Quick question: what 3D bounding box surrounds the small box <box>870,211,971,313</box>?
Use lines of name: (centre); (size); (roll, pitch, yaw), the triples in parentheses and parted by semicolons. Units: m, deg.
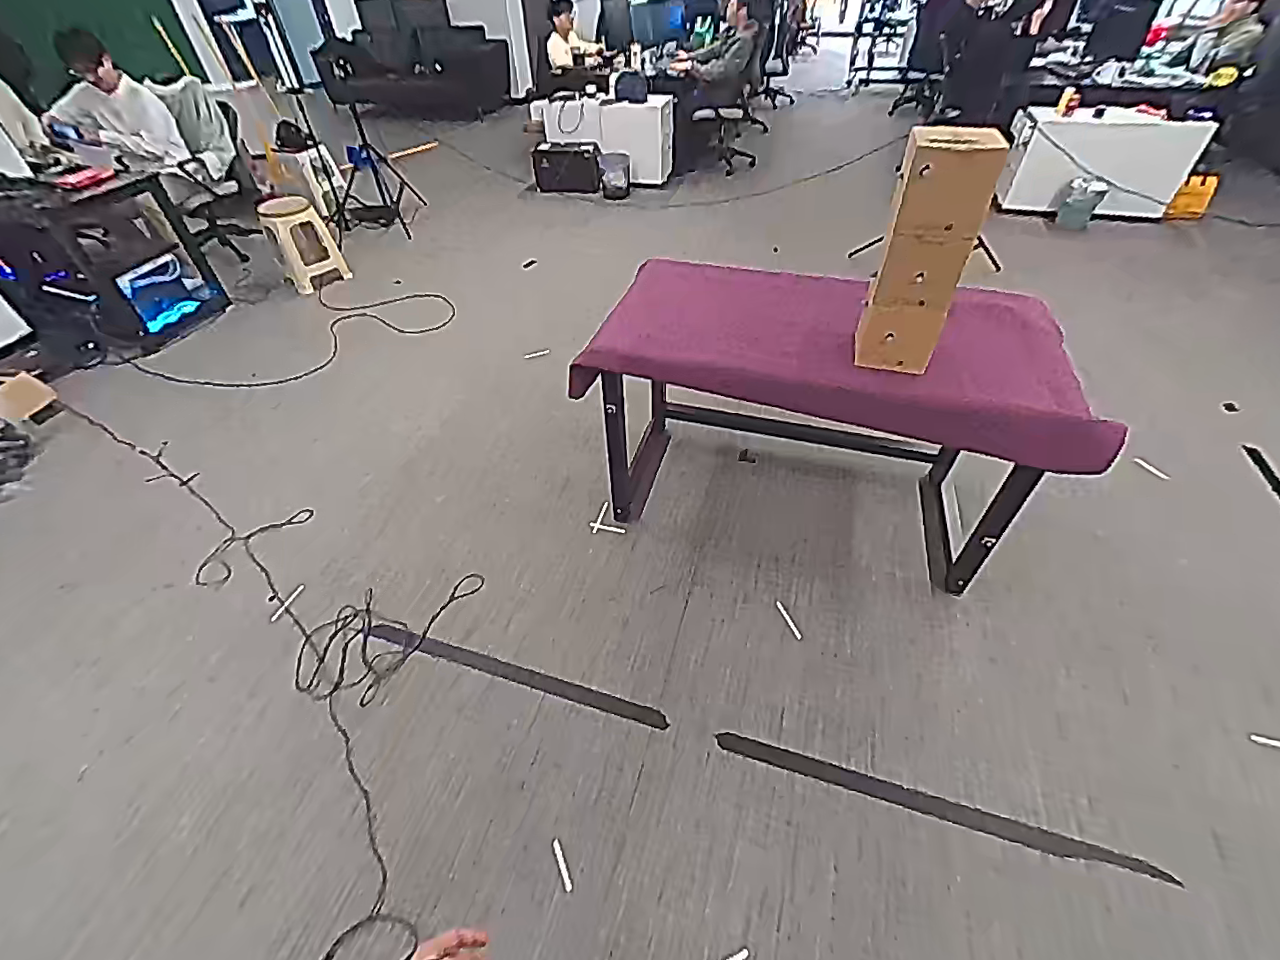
small box: (0.646, -0.508, 1.262); (0.168, 0.176, 0.179); (12, 46, 14)

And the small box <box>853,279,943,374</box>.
small box: (0.649, -0.388, 1.374); (0.168, 0.176, 0.179); (11, 45, 13)
